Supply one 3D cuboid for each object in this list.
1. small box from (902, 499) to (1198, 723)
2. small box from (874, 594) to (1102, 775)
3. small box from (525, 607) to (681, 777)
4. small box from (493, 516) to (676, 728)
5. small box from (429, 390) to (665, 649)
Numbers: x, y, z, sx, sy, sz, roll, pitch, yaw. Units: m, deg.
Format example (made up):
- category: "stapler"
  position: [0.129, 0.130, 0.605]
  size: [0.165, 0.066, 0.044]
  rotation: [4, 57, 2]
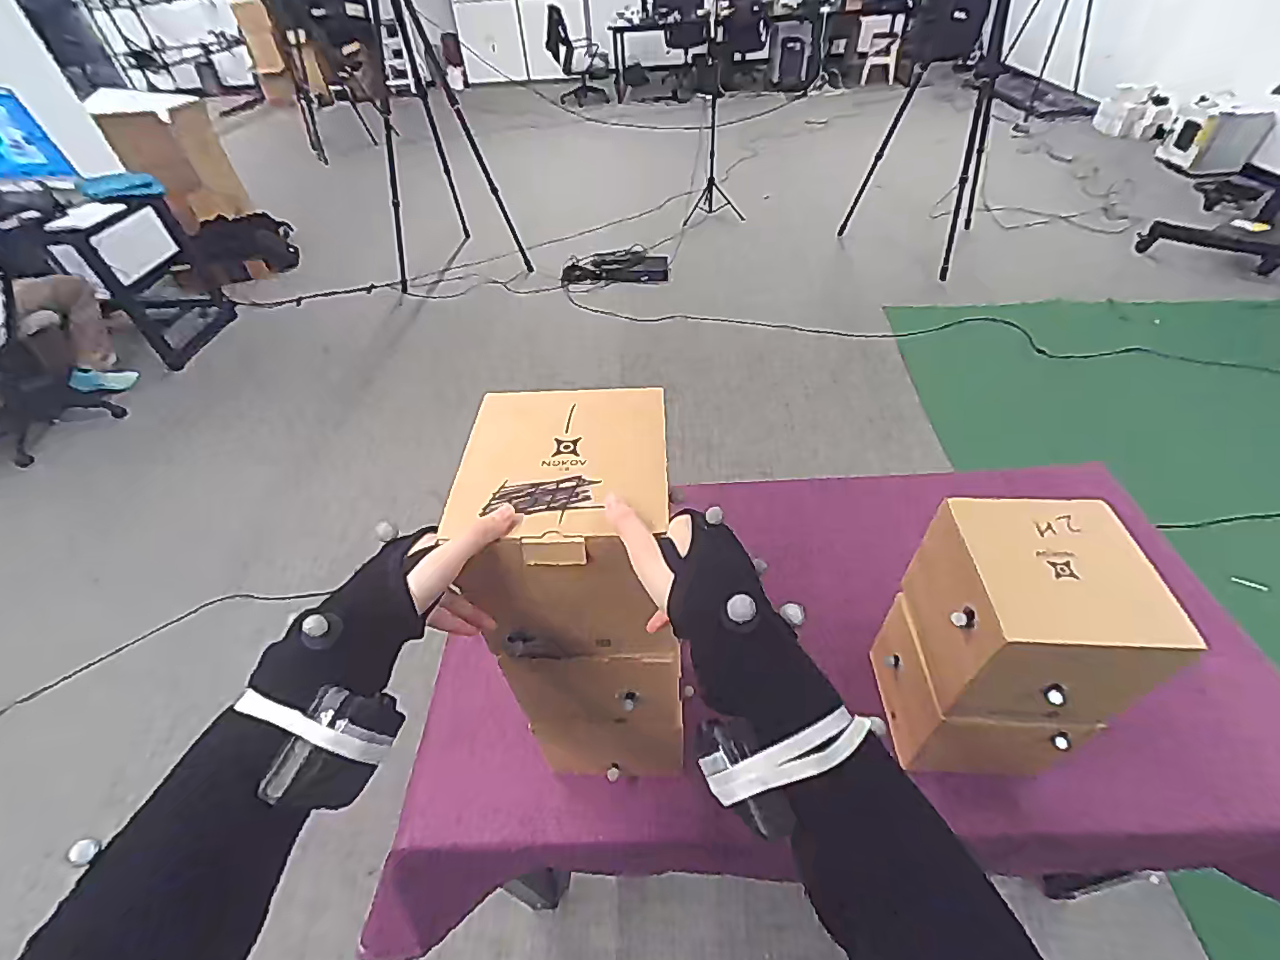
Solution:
- category: "small box"
  position: [0.405, 0.141, 0.579]
  size: [0.168, 0.176, 0.179]
  rotation: [1, 45, 6]
- category: "small box"
  position: [0.415, 0.261, 0.691]
  size: [0.179, 0.176, 0.168]
  rotation: [0, 45, 4]
- category: "small box"
  position: [-0.036, 0.277, 0.714]
  size: [0.179, 0.176, 0.168]
  rotation: [-1, 45, 3]
- category: "small box"
  position: [-0.045, 0.158, 0.602]
  size: [0.168, 0.176, 0.179]
  rotation: [0, 45, 5]
- category: "small box"
  position: [-0.062, 0.039, 0.490]
  size: [0.168, 0.176, 0.179]
  rotation: [-1, 44, 3]
